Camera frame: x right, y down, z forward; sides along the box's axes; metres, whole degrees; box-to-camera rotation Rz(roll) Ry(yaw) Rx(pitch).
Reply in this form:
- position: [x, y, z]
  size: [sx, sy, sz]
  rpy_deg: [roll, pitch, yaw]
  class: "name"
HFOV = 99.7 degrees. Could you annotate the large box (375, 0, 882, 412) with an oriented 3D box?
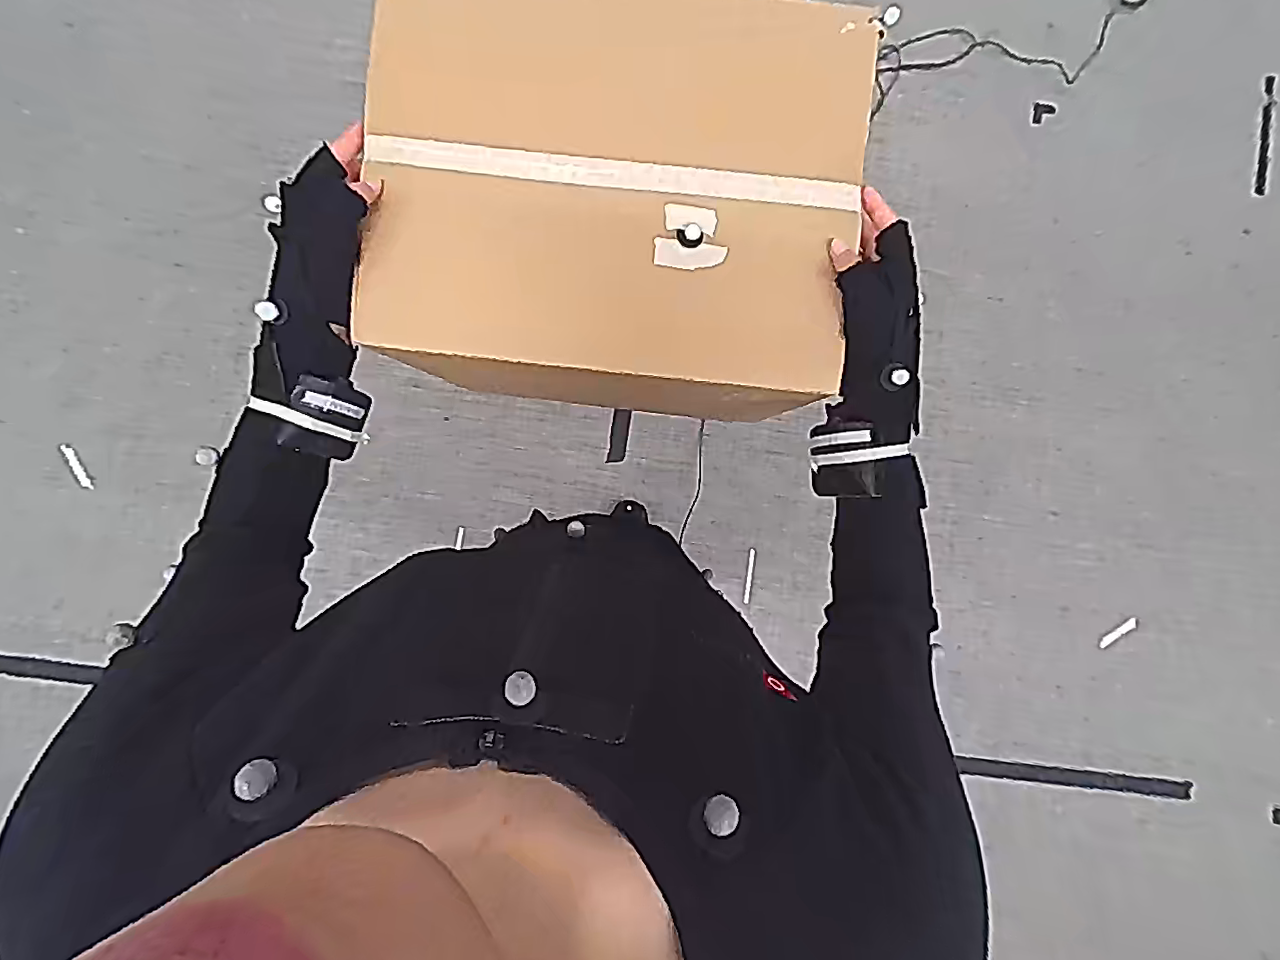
- position: [-0.014, -0.257, 0.594]
  size: [0.408, 0.320, 0.320]
  rpy_deg: [6, 92, -1]
  class: "large box"
